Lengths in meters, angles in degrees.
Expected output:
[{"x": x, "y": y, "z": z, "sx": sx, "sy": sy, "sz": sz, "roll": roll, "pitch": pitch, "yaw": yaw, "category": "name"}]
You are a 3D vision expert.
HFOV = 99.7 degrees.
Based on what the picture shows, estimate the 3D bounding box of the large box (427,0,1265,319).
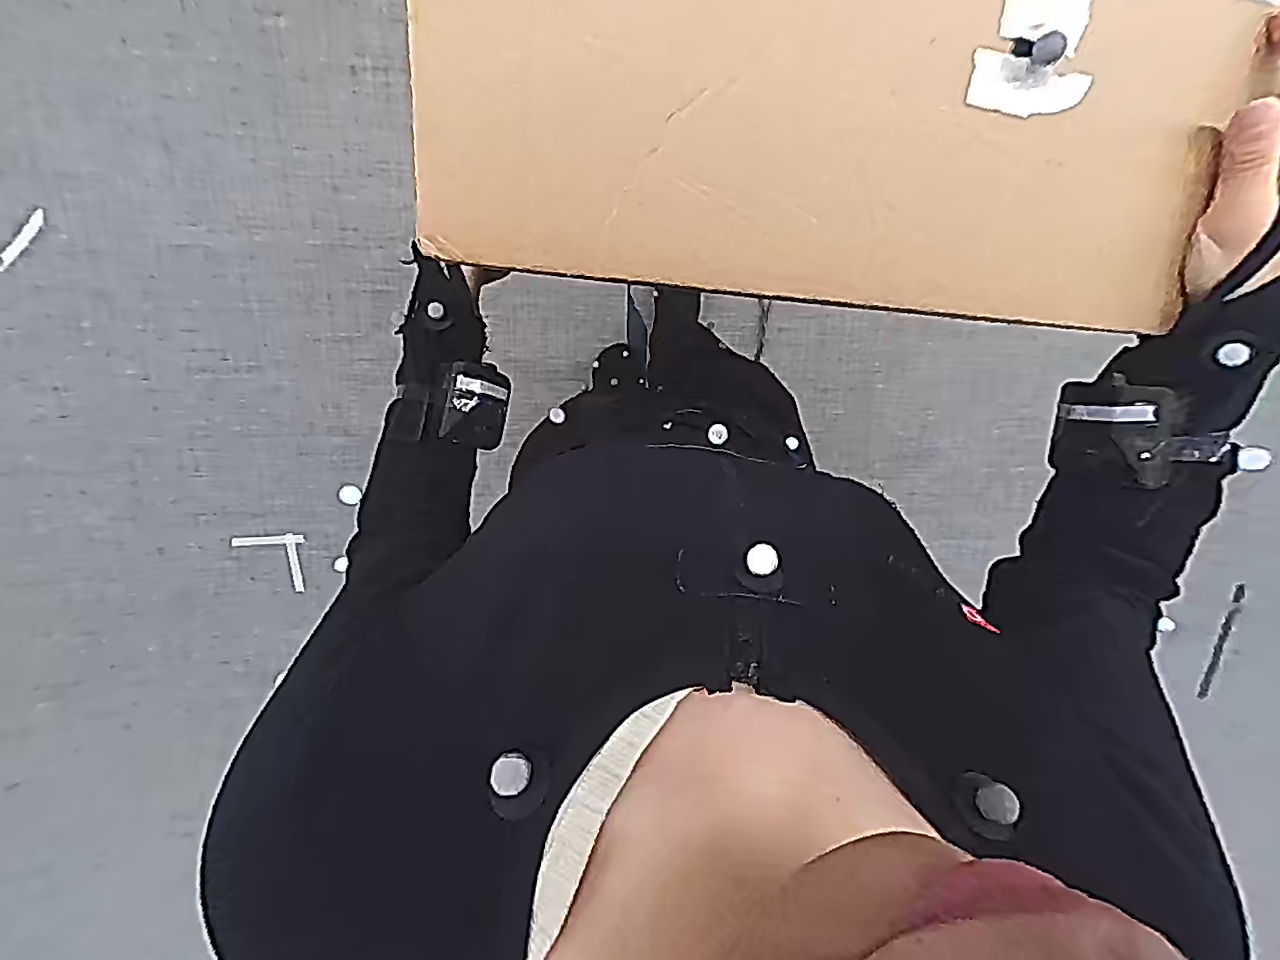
[{"x": 0.088, "y": -0.293, "z": 0.373, "sx": 0.408, "sy": 0.320, "sz": 0.320, "roll": 2, "pitch": 111, "yaw": -10, "category": "large box"}]
